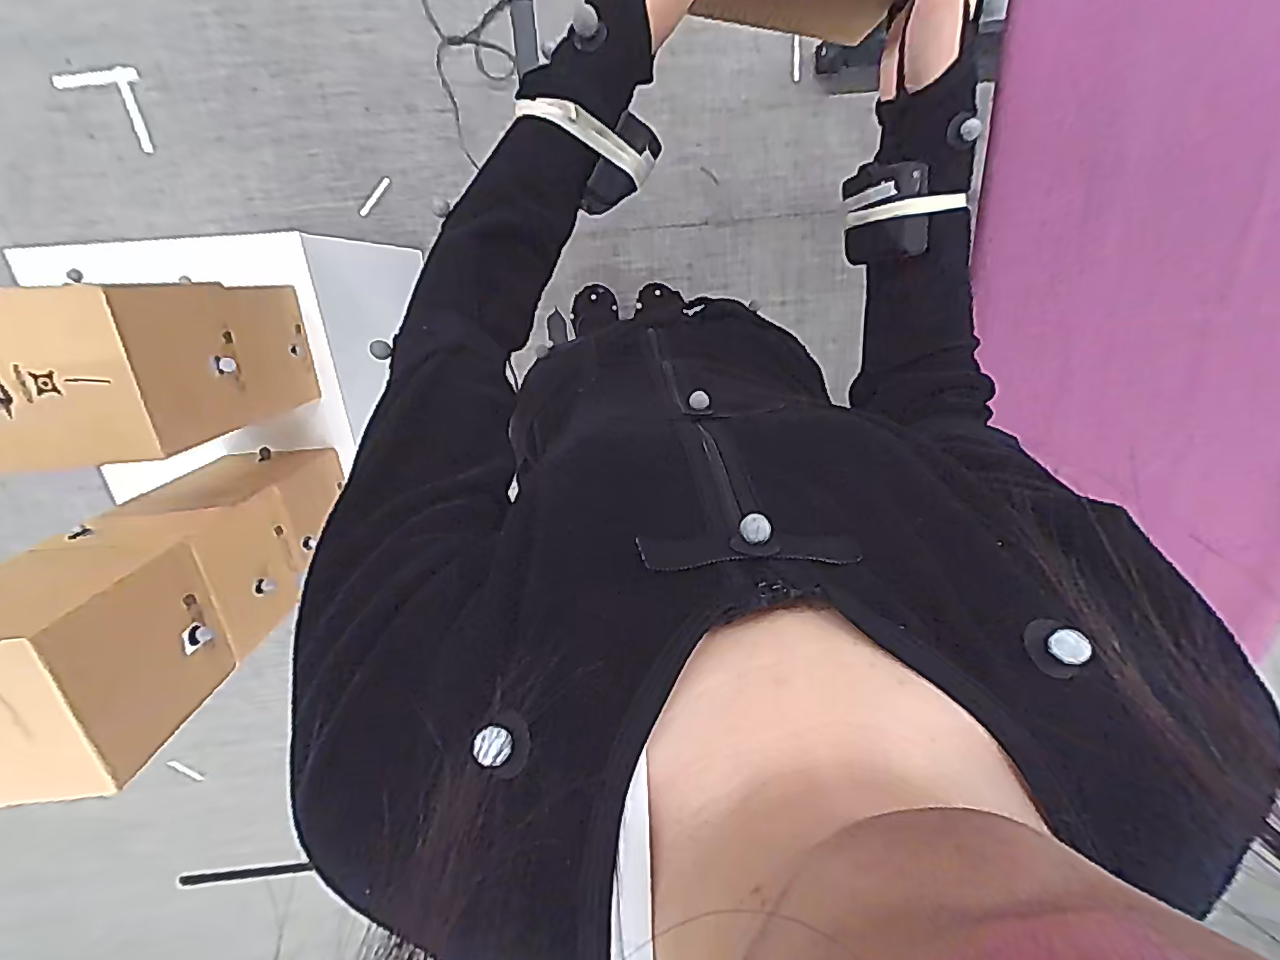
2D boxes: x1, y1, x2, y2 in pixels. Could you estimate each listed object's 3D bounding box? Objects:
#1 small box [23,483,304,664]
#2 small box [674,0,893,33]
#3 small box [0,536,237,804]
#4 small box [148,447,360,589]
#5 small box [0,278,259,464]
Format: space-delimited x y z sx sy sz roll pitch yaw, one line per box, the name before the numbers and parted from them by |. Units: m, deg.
small box | -0.545 0.110 0.656 0.179 0.176 0.168 -5 111 -1
small box | 0.117 -0.429 0.351 0.179 0.176 0.168 7 111 -4
small box | -0.537 0.167 0.504 0.179 0.176 0.168 -6 112 -2
small box | -0.557 0.054 0.809 0.179 0.176 0.168 -4 111 -1
small box | -0.552 -0.121 0.566 0.179 0.176 0.168 -3 112 -4
